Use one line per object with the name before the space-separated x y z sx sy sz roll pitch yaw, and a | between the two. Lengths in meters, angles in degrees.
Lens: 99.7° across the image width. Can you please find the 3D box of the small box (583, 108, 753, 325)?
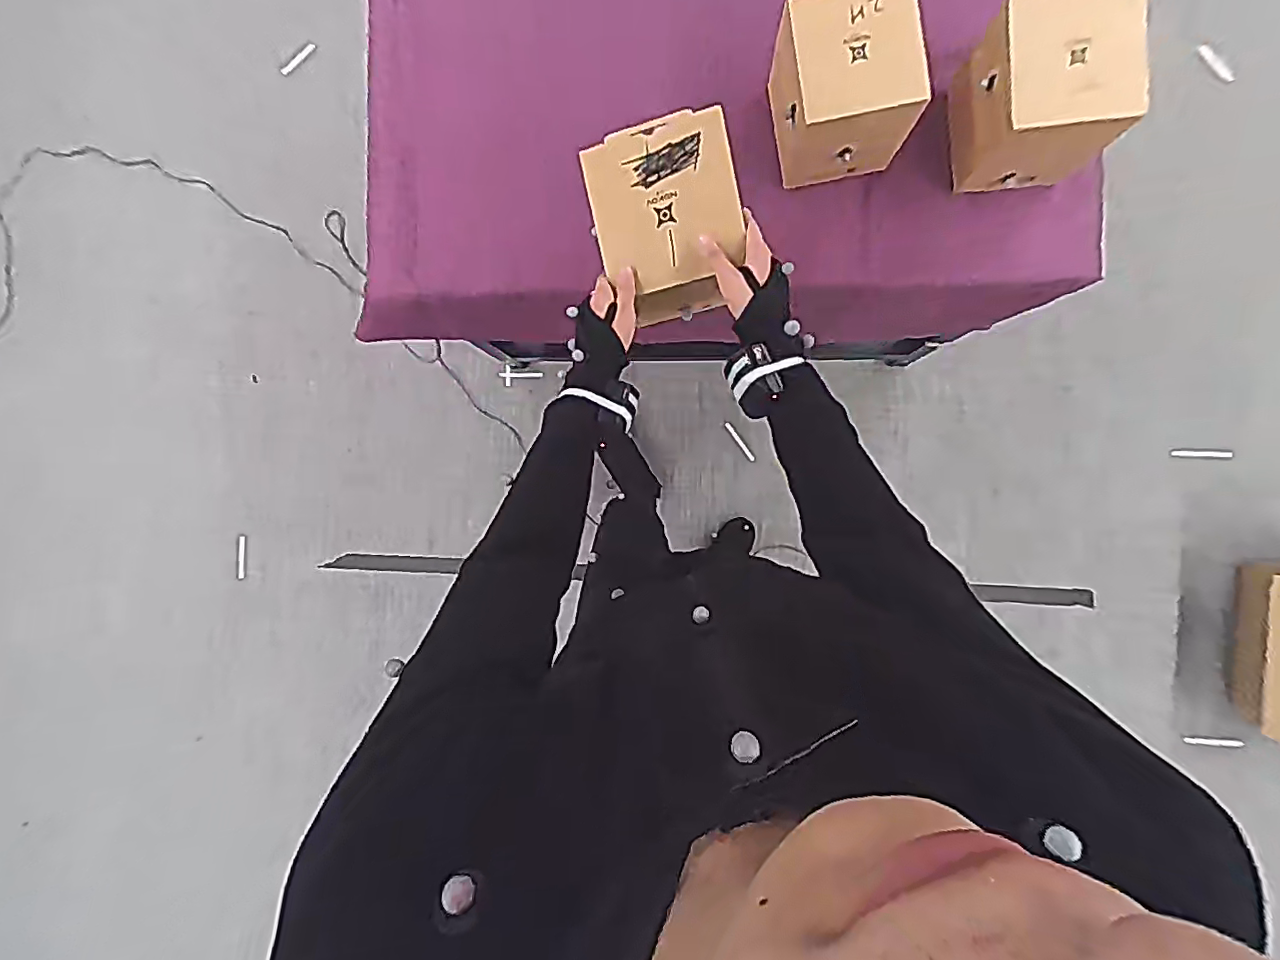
small box | 0.042 -0.313 0.682 0.168 0.176 0.179 -12 94 11

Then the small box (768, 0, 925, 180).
small box | 0.293 -0.575 0.800 0.168 0.176 0.179 -9 89 5

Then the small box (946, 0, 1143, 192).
small box | 0.563 -0.550 0.777 0.168 0.176 0.179 -3 89 6
